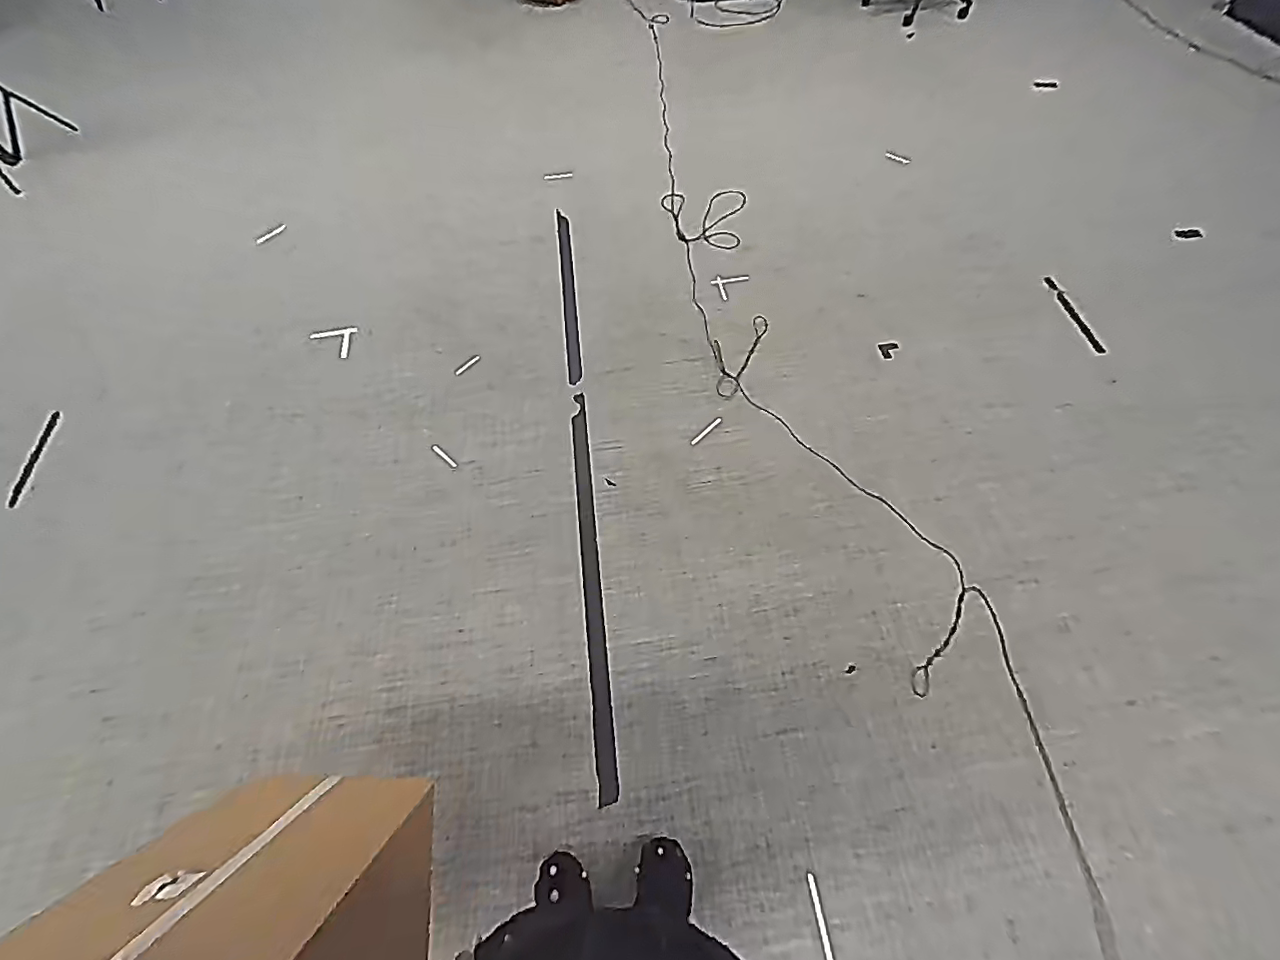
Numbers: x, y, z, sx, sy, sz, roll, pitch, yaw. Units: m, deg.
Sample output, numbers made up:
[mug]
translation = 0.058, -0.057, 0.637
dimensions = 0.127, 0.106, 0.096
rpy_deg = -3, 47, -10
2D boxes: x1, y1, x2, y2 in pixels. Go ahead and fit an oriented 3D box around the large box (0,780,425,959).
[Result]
[large box]
translation = -0.505, 0.639, 0.679
dimensions = 0.320, 0.408, 0.320
rpy_deg = 1, 87, 1
